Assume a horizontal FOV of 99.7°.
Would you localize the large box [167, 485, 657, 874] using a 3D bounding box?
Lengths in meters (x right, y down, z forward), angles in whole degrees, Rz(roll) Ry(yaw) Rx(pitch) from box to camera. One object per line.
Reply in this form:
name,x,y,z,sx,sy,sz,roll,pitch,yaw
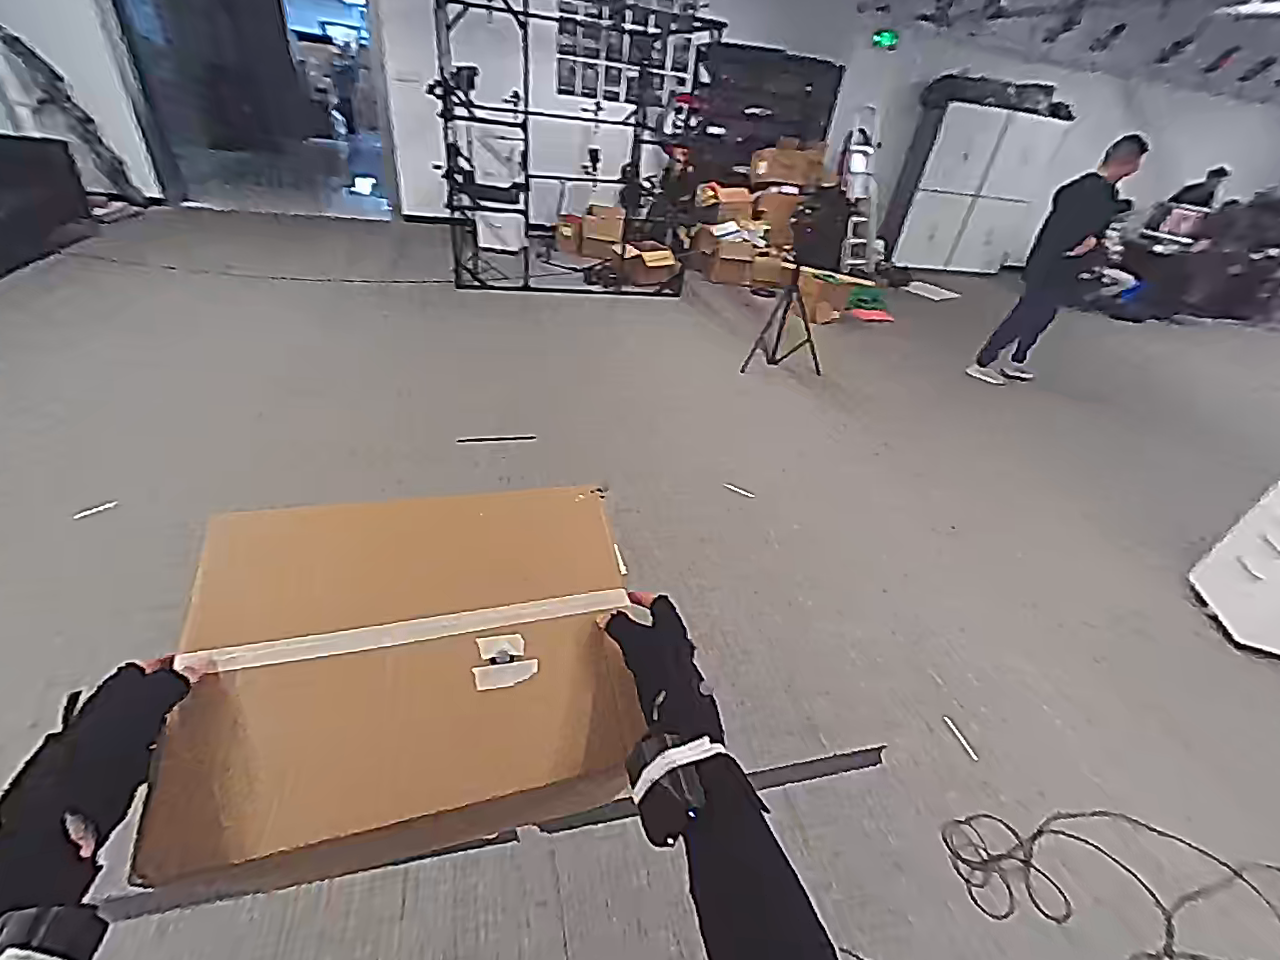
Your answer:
large box,-0.238,0.233,0.660,0.408,0.320,0.320,-4,55,-19
